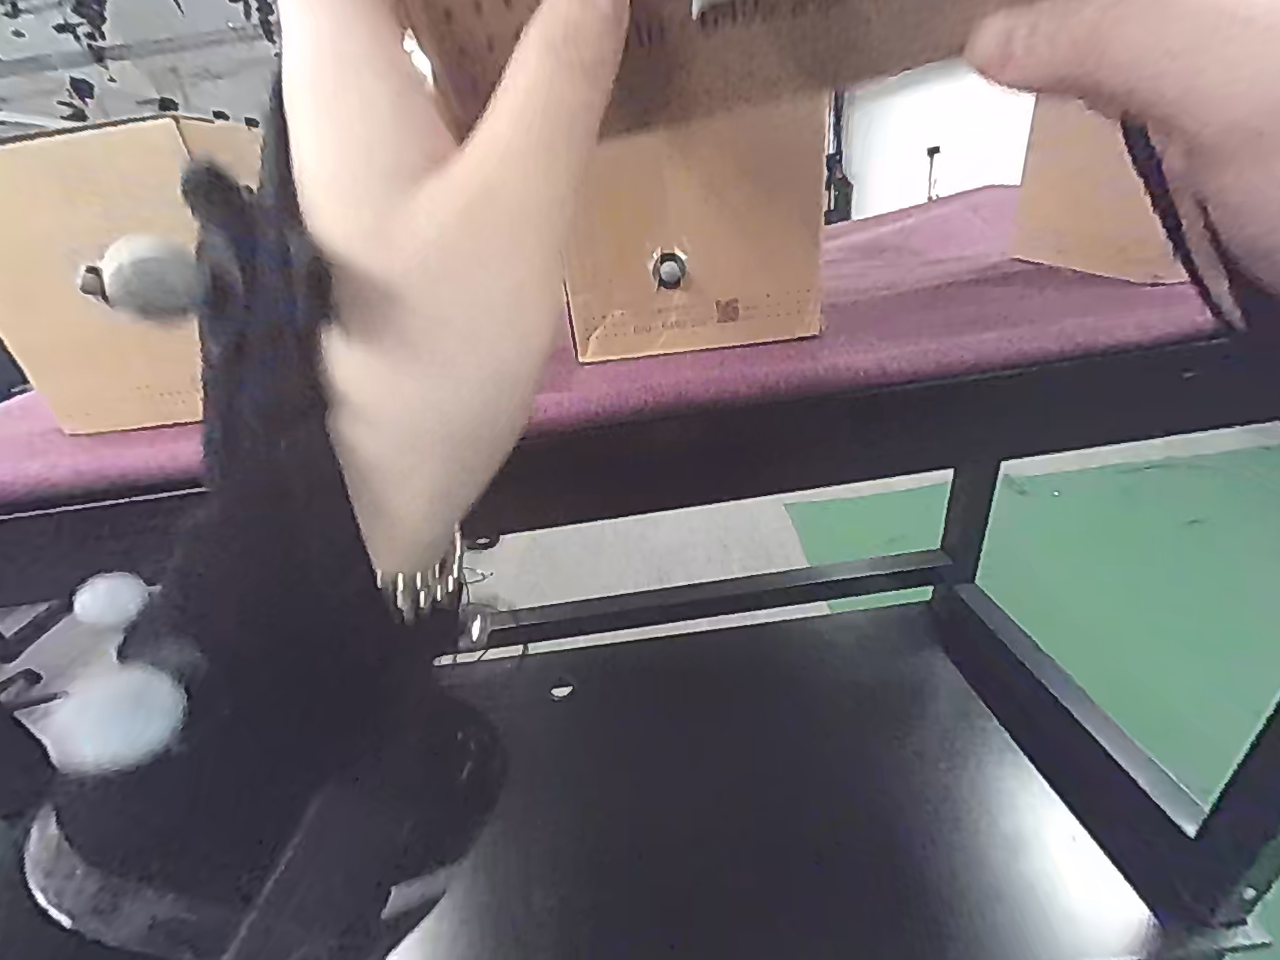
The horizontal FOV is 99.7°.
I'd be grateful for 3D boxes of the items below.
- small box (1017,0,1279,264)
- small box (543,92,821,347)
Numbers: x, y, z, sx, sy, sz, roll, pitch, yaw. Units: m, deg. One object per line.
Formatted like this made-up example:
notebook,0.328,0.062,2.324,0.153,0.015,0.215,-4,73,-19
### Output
small box,0.409,-0.257,0.383,0.168,0.176,0.179,-6,29,6
small box,0.027,-0.205,0.400,0.168,0.176,0.179,-6,28,5
